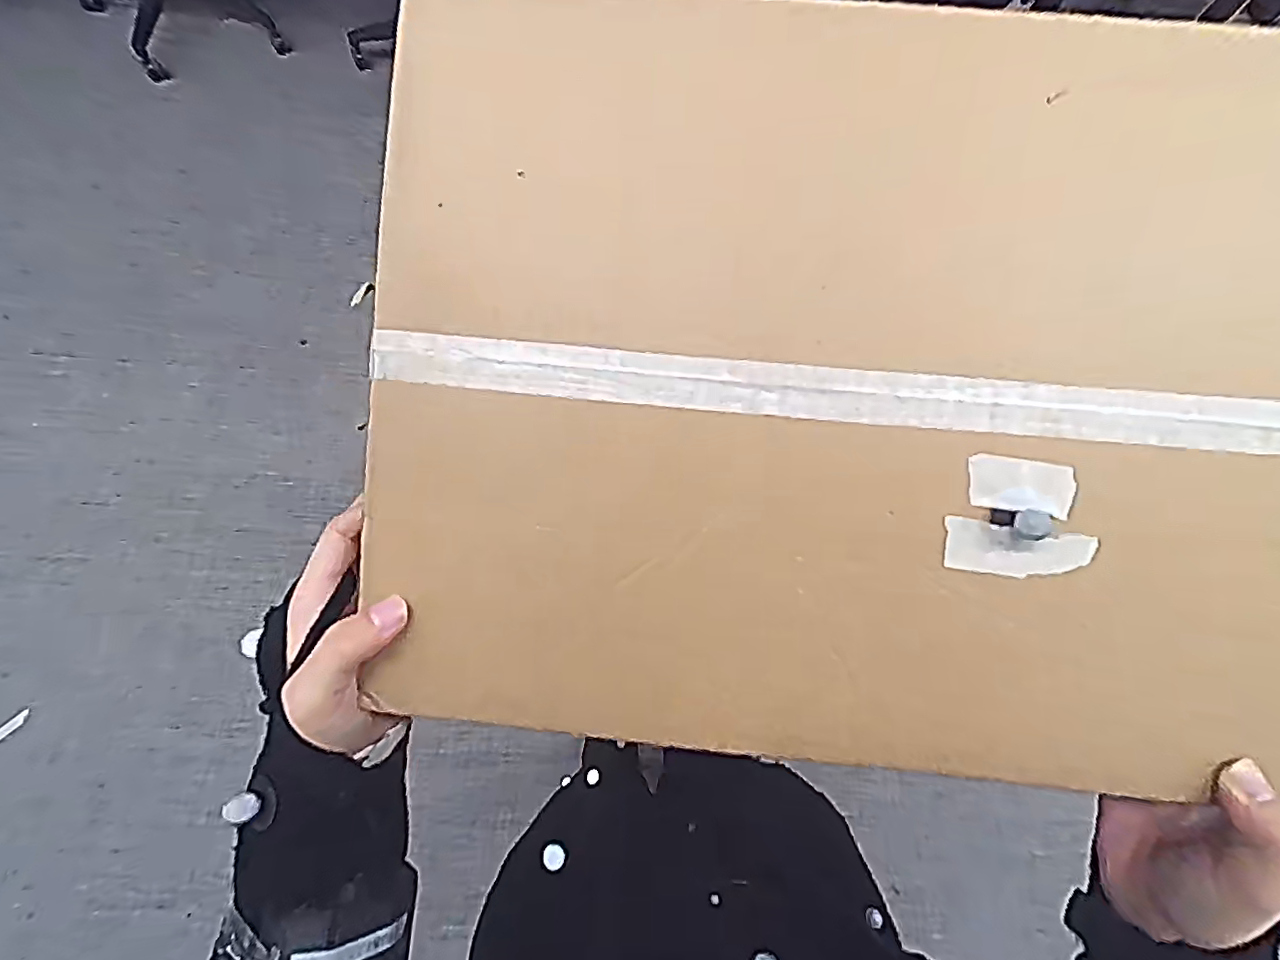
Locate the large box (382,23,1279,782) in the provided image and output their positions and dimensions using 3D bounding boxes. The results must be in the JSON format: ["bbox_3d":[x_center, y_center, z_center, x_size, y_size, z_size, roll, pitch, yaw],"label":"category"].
[{"bbox_3d":[0.092,-0.037,0.383,0.408,0.320,0.320,5,93,1],"label":"large box"}]
